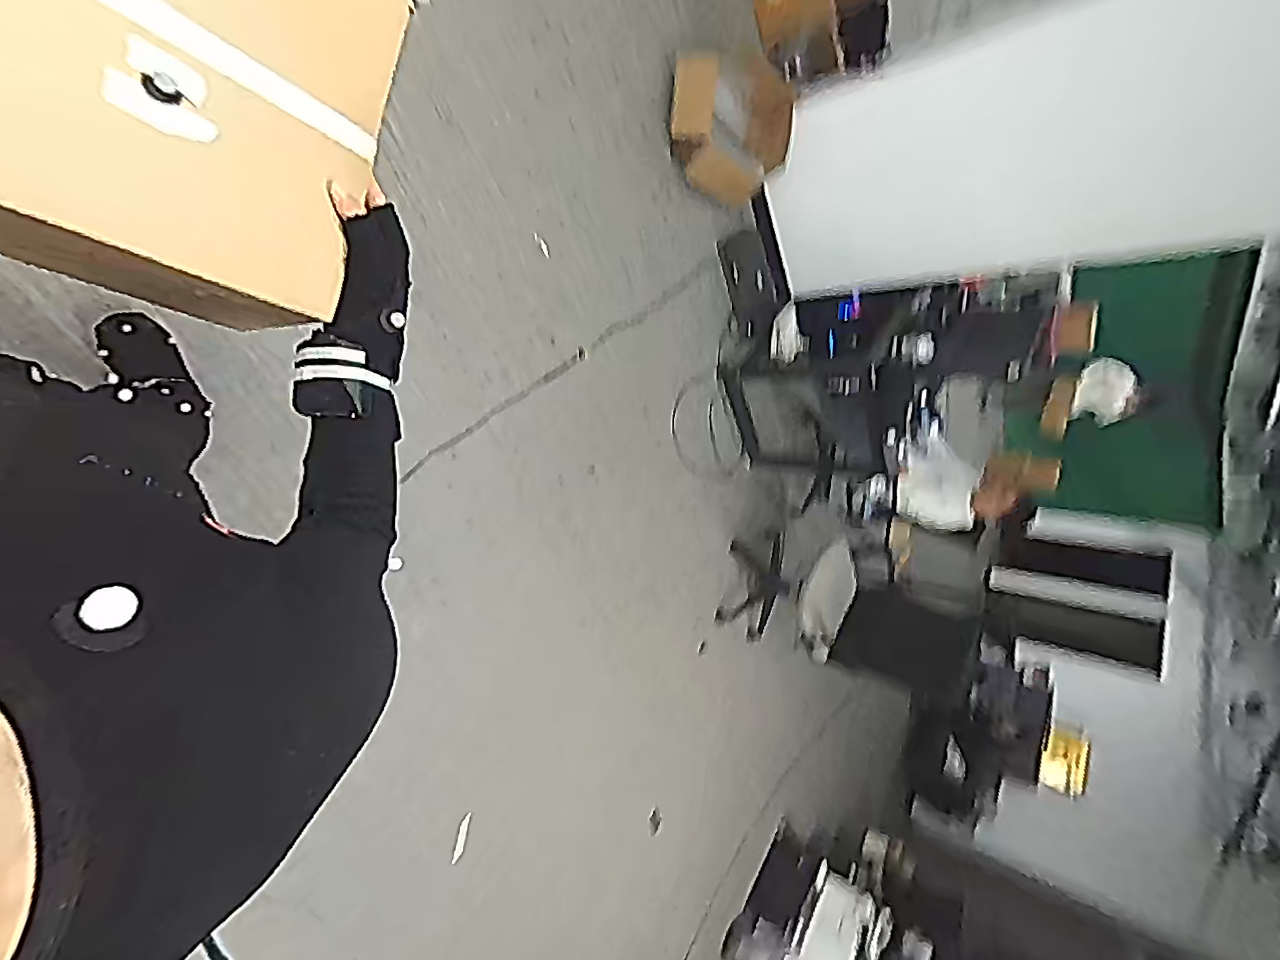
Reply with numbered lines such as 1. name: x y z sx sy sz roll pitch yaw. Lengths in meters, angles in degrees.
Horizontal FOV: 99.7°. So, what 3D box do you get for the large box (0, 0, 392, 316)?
1. large box: -0.486 -0.356 0.431 0.408 0.320 0.320 13 89 -49
